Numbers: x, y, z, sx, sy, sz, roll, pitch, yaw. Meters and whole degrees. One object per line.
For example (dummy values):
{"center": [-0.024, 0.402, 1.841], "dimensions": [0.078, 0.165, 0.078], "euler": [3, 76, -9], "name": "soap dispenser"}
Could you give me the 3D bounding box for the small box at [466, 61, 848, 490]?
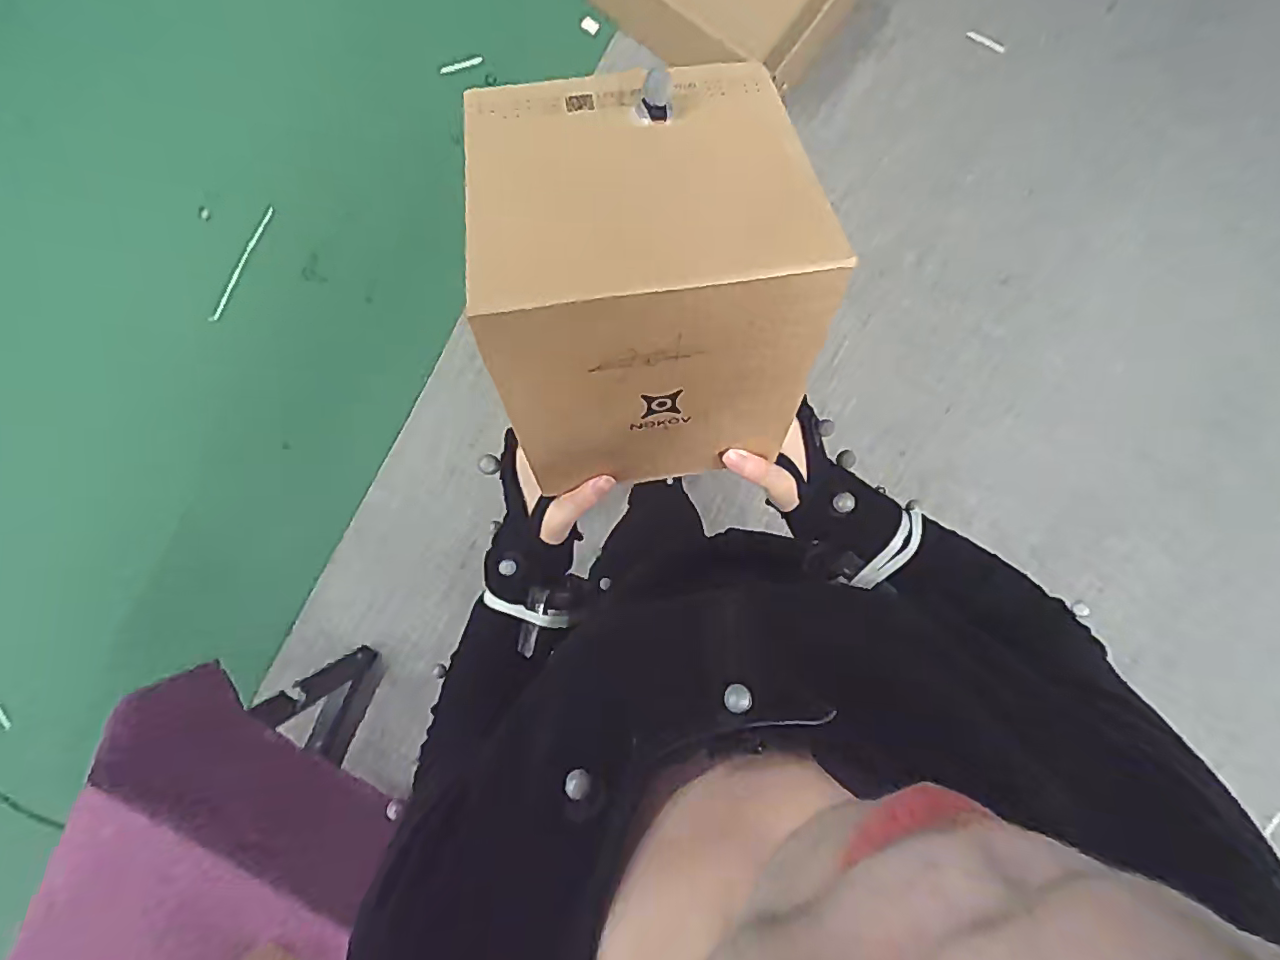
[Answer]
{"center": [-0.001, -0.113, 0.336], "dimensions": [0.168, 0.179, 0.176], "euler": [-8, 63, -3], "name": "small box"}
